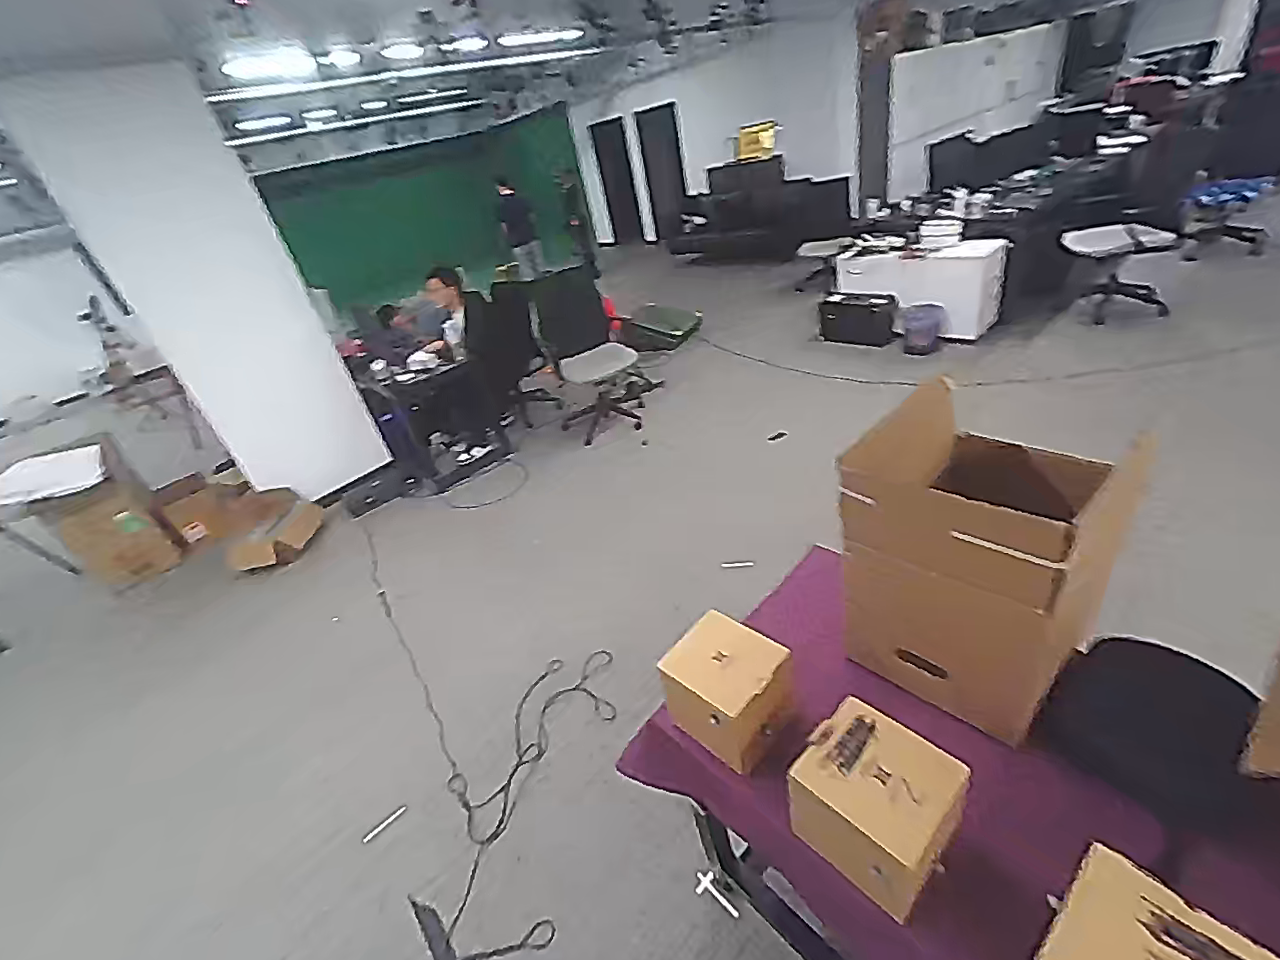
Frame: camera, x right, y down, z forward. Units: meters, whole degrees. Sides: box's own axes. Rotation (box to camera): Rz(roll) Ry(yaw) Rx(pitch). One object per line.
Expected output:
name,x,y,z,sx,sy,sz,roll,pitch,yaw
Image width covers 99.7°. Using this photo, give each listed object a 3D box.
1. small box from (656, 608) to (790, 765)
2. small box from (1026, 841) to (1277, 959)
small box,0.156,0.375,0.987,0.179,0.176,0.168,21,46,41
small box,0.524,0.548,0.572,0.179,0.176,0.168,-32,36,-26
